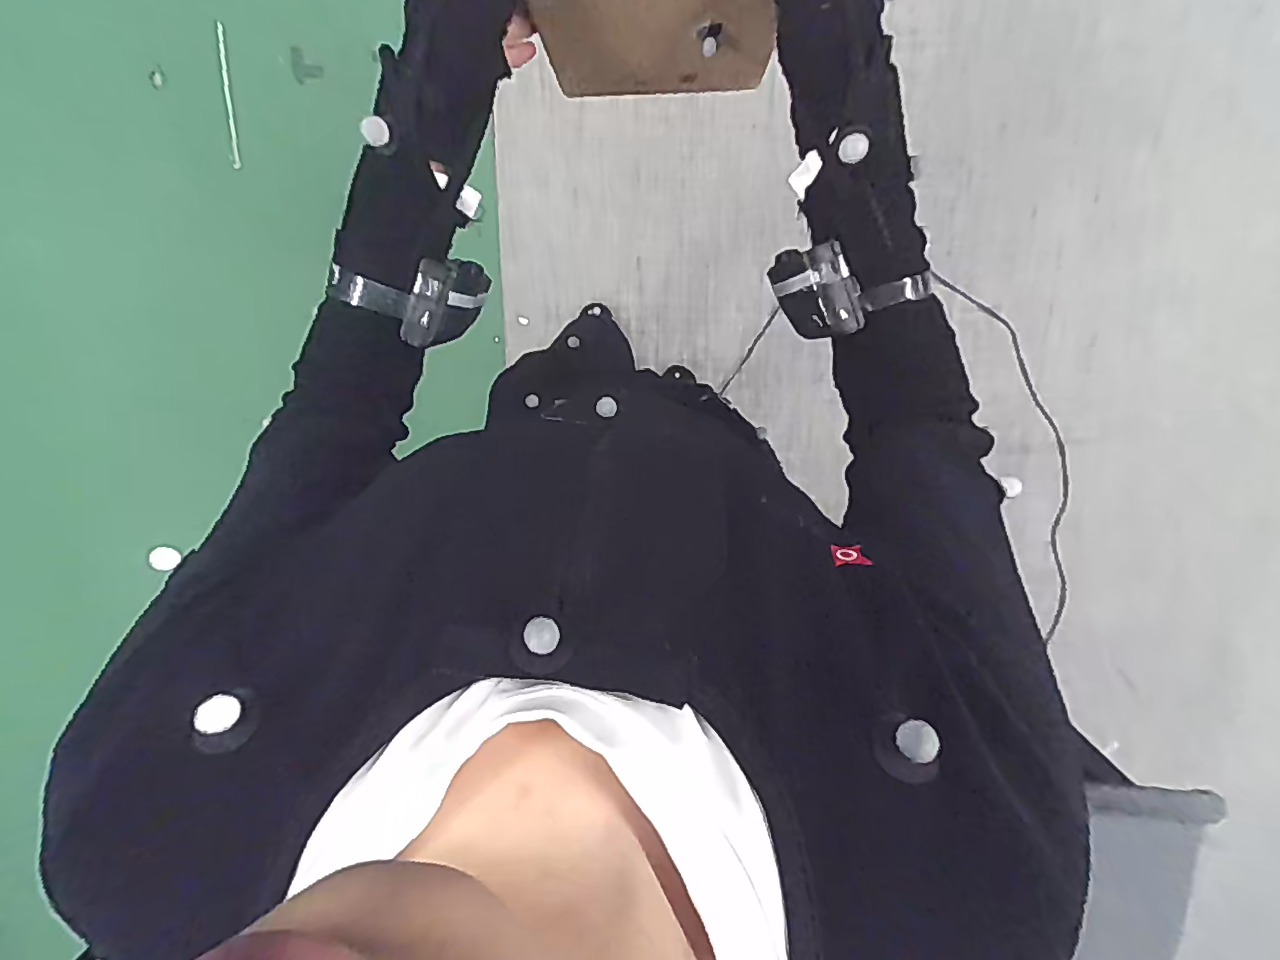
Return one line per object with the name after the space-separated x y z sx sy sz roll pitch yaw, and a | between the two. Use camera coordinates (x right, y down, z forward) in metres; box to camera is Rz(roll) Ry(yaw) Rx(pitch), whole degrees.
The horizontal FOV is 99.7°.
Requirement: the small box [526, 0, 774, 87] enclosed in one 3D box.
0.009 -0.391 0.356 0.168 0.176 0.179 0 102 2 | small box
